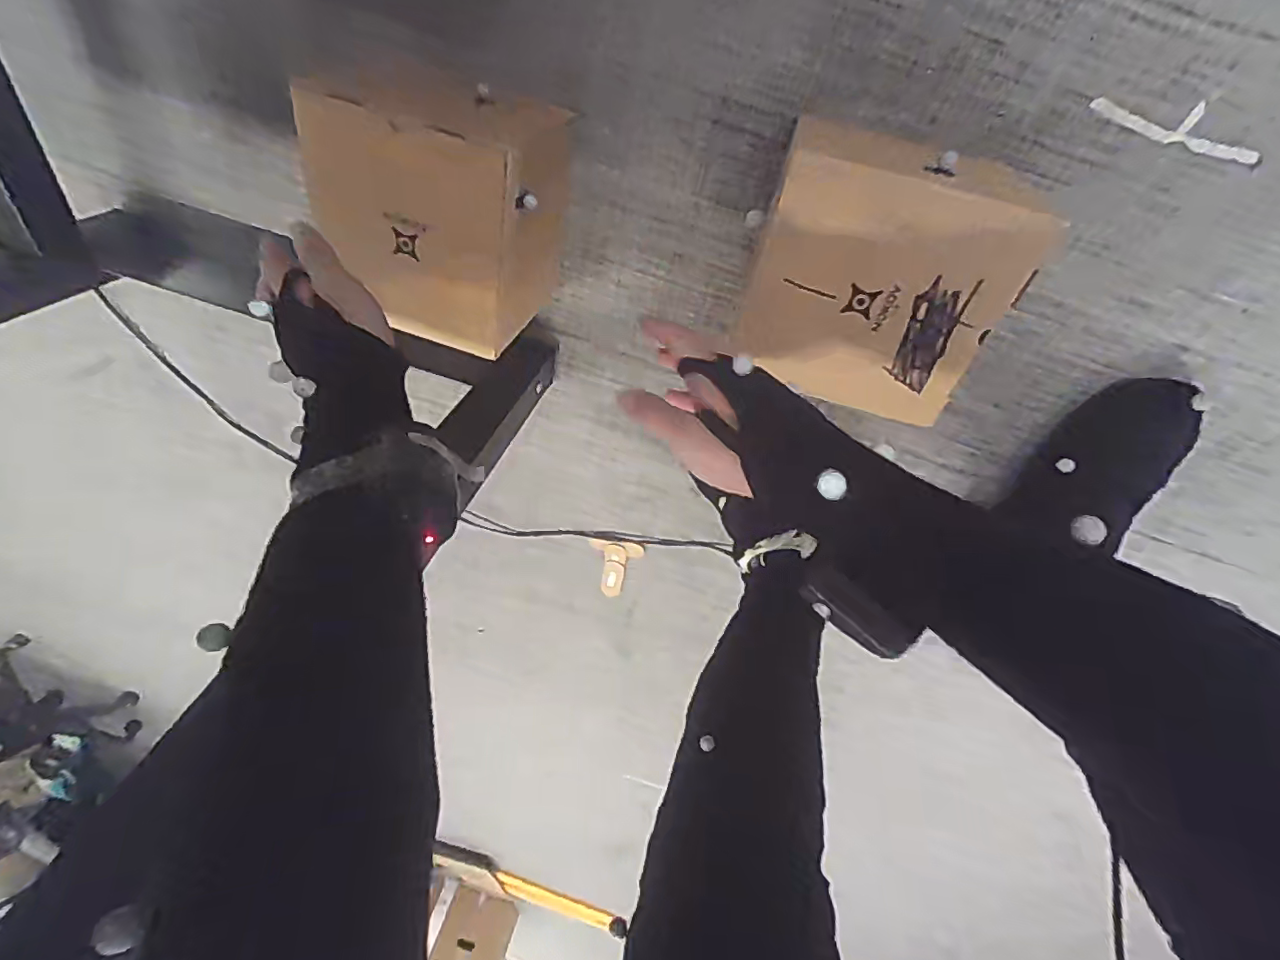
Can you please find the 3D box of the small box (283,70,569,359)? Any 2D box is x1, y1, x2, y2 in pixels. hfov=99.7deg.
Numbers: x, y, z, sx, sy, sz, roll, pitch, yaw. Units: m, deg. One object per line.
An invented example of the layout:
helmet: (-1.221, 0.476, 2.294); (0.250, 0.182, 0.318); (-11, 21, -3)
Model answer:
small box: (-0.175, -0.245, 0.495); (0.168, 0.176, 0.179); (18, 131, 2)
